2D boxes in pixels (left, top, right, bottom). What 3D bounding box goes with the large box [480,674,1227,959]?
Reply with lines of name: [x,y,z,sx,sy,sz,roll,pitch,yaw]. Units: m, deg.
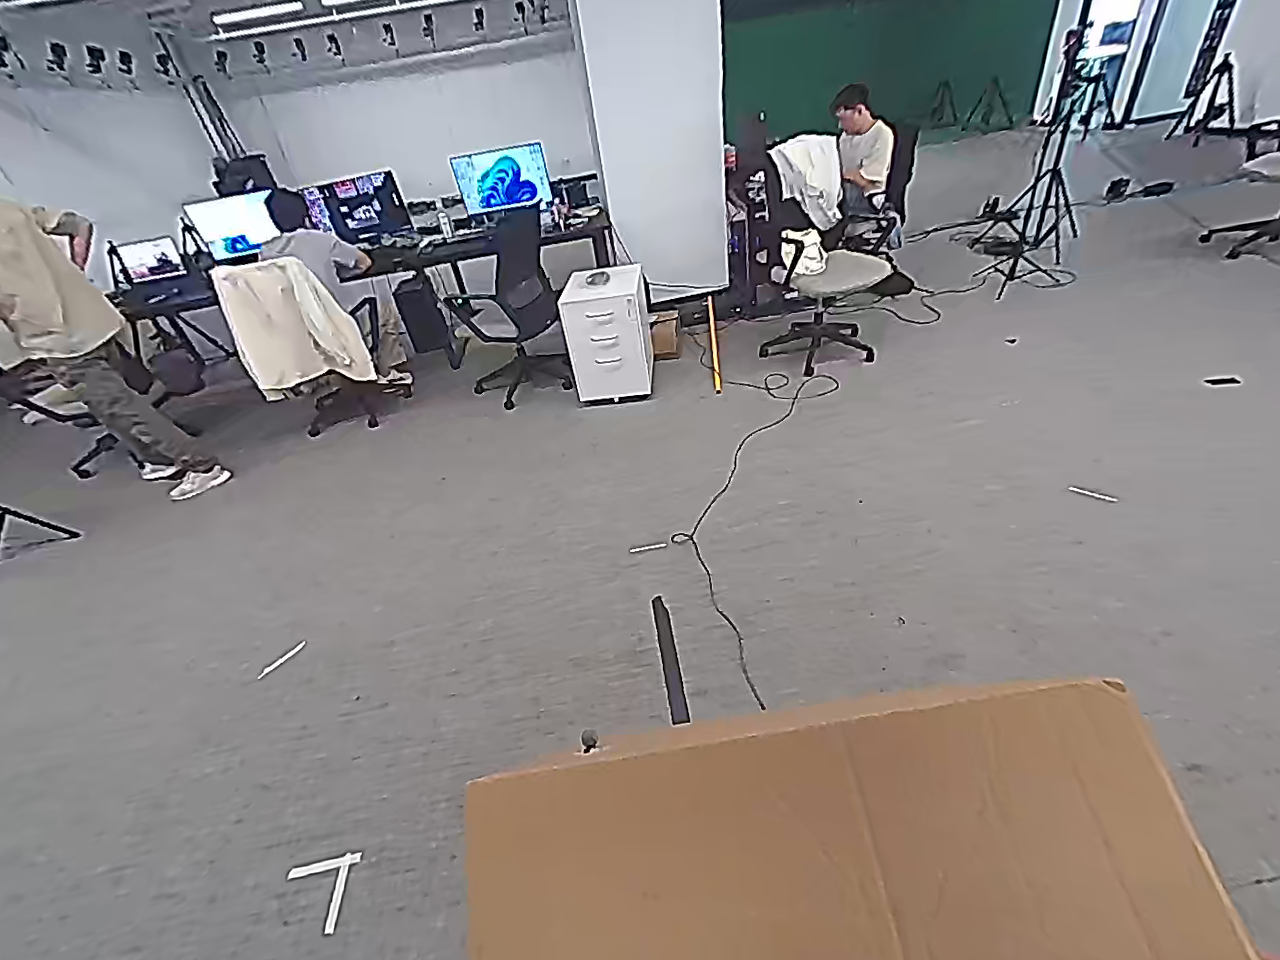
large box: [0.131,0.355,0.424,0.408,0.320,0.320,-12,68,4]
